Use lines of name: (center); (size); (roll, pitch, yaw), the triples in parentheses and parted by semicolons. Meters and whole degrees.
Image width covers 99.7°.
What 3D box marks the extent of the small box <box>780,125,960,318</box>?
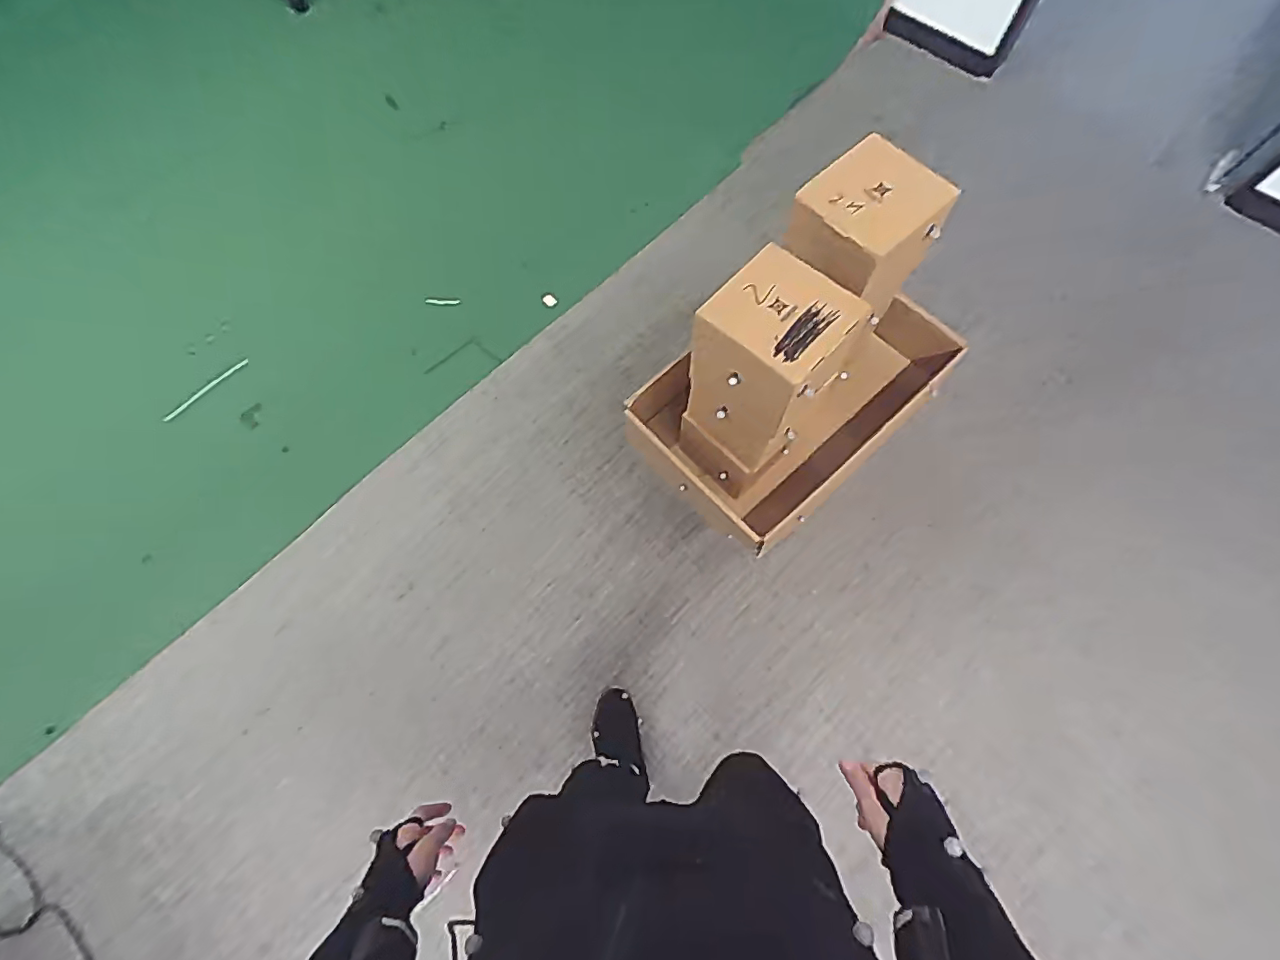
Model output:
small box: (0.344, -0.398, 0.850); (0.179, 0.176, 0.168); (-40, 73, -8)

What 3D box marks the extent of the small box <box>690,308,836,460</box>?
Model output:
small box: (0.205, -0.156, 0.953); (0.168, 0.176, 0.179); (-43, 74, -12)

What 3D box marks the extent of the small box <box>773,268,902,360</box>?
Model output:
small box: (0.366, -0.359, 1.010); (0.168, 0.176, 0.179); (40, 80, 14)
